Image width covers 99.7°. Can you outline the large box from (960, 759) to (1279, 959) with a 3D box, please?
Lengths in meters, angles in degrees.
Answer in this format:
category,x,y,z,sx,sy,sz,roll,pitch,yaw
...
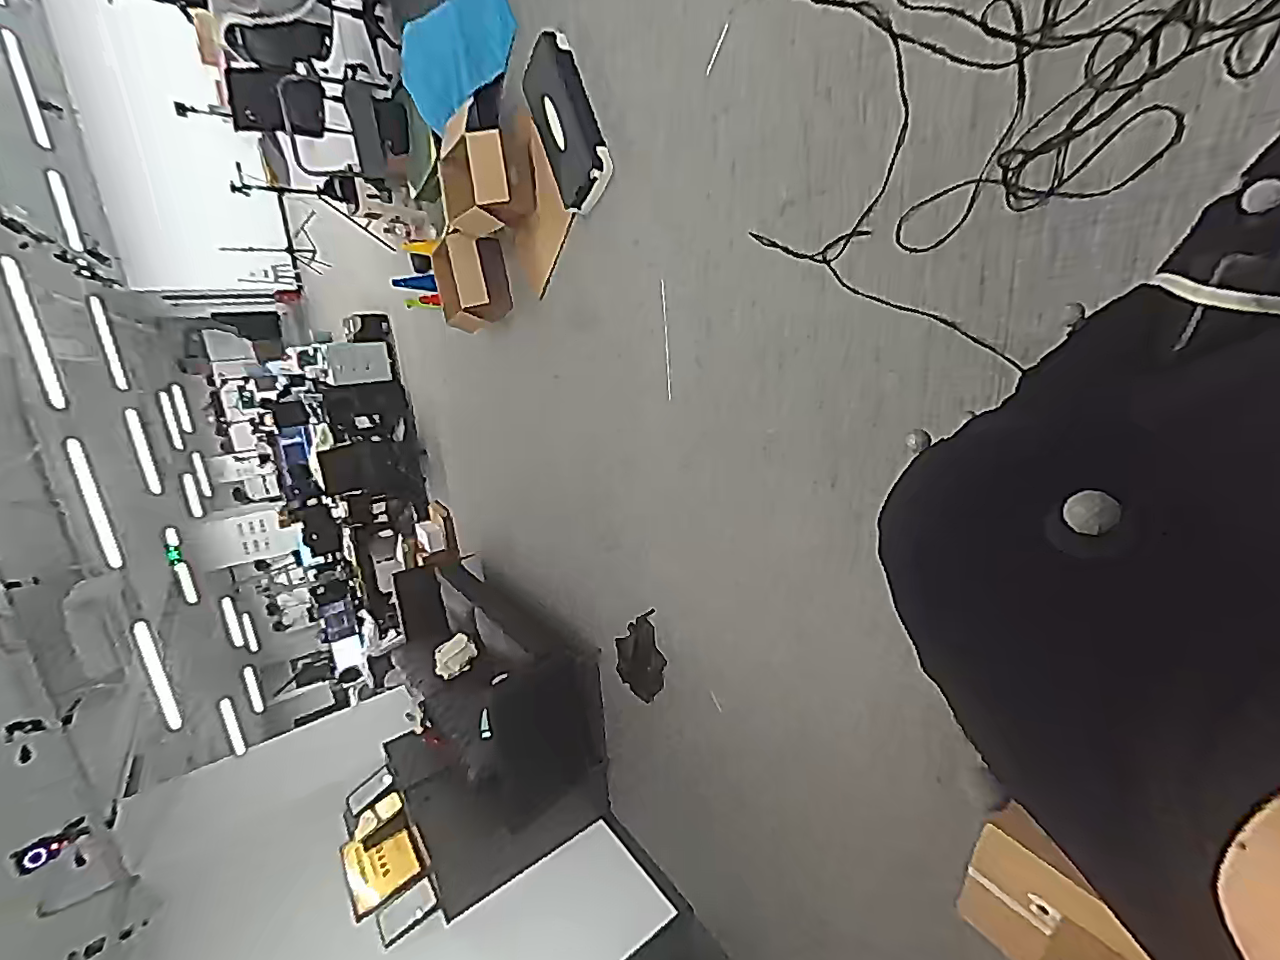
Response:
category,x,y,z,sx,sy,sz,roll,pitch,yaw
large box,0.987,0.902,1.144,0.408,0.320,0.320,28,123,50
